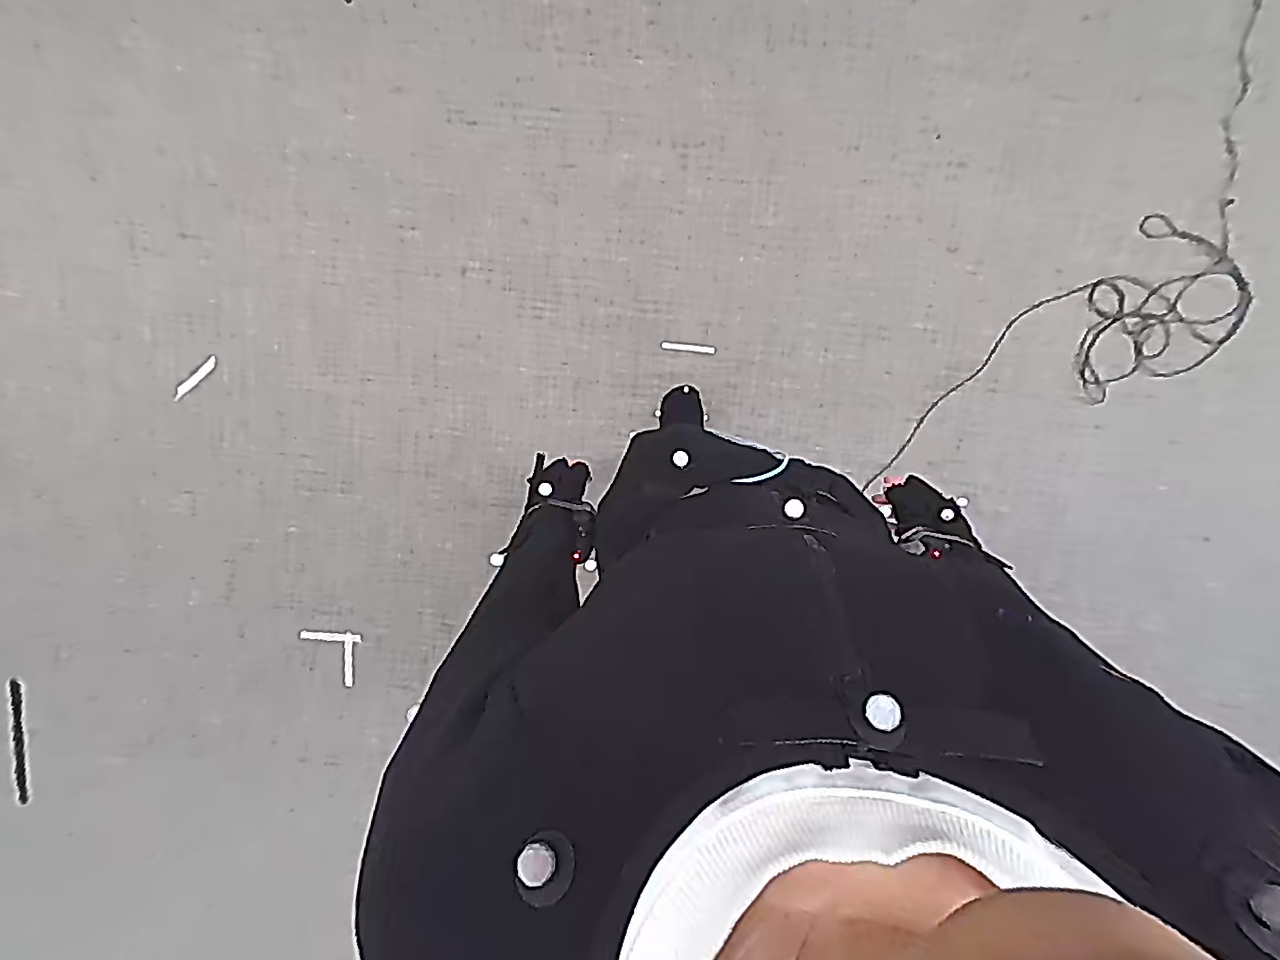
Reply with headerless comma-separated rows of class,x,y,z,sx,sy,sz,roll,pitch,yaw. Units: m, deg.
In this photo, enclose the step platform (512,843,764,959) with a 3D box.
step platform,-0.005,1.231,1.496,0.684,0.204,0.286,5,96,3
